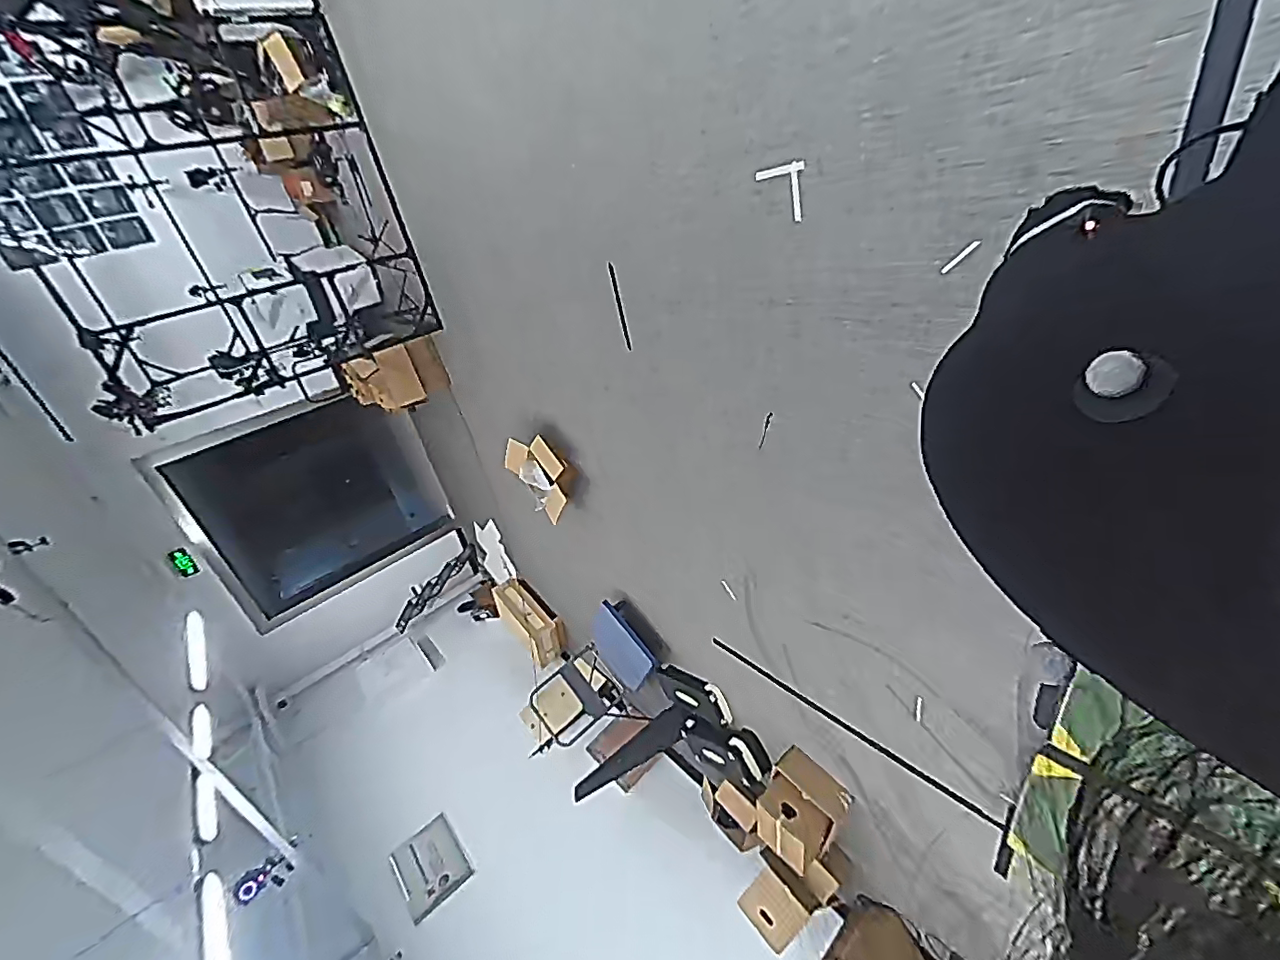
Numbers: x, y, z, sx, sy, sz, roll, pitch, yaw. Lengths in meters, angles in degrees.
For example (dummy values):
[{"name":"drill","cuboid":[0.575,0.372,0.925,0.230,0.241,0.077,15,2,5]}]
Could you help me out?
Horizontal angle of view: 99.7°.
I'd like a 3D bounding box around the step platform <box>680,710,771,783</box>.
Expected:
[{"name":"step platform","cuboid":[0.558,1.803,3.676,0.286,0.204,0.684,61,150,-5]}]
